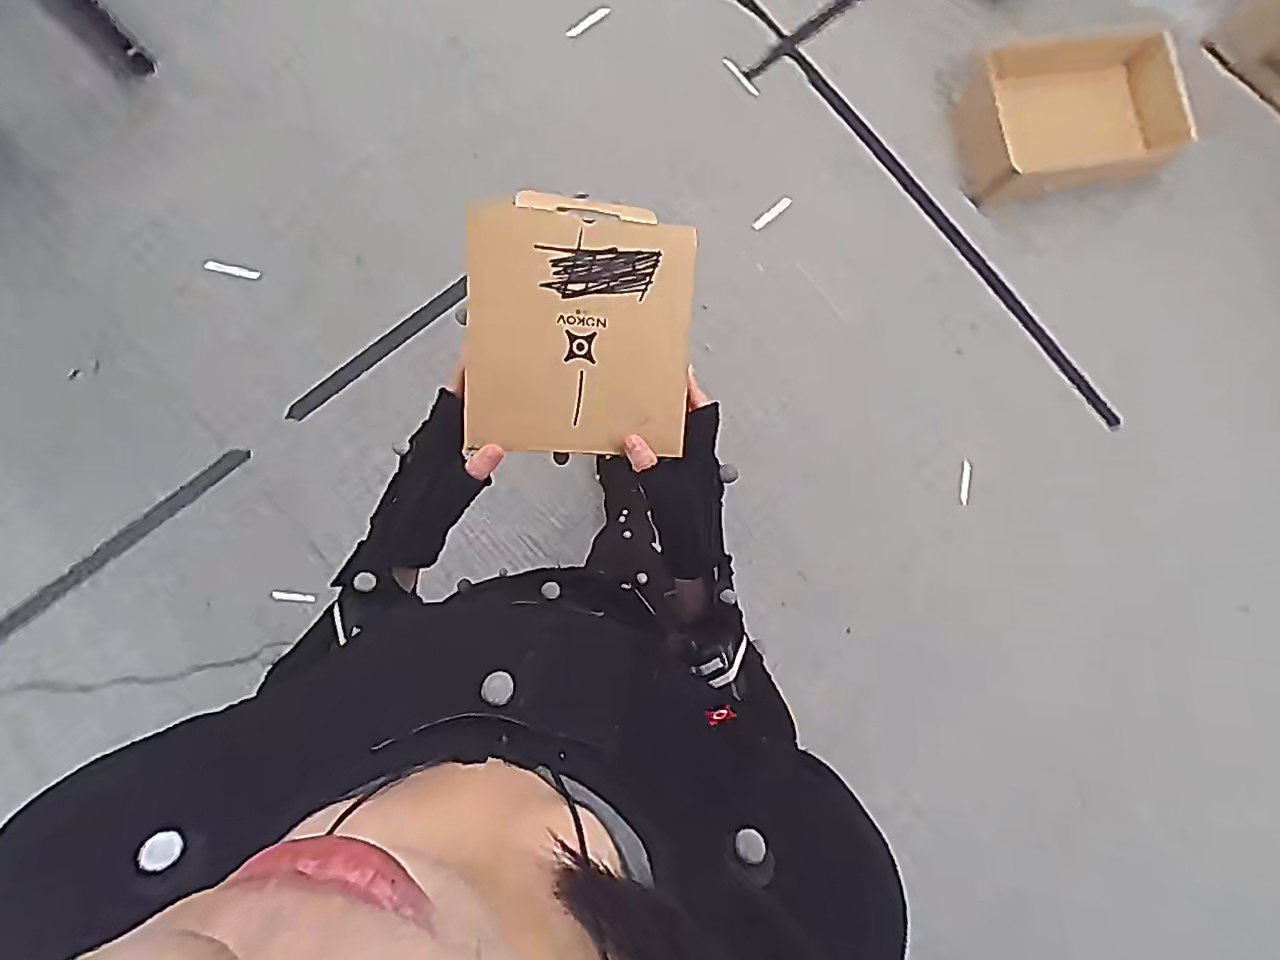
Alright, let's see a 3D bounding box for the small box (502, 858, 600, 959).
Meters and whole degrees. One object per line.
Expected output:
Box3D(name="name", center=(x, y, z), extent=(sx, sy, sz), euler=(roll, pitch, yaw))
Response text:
Box3D(name="small box", center=(-0.213, 1.109, 1.349), extent=(0.179, 0.176, 0.168), euler=(-38, 90, -7))
